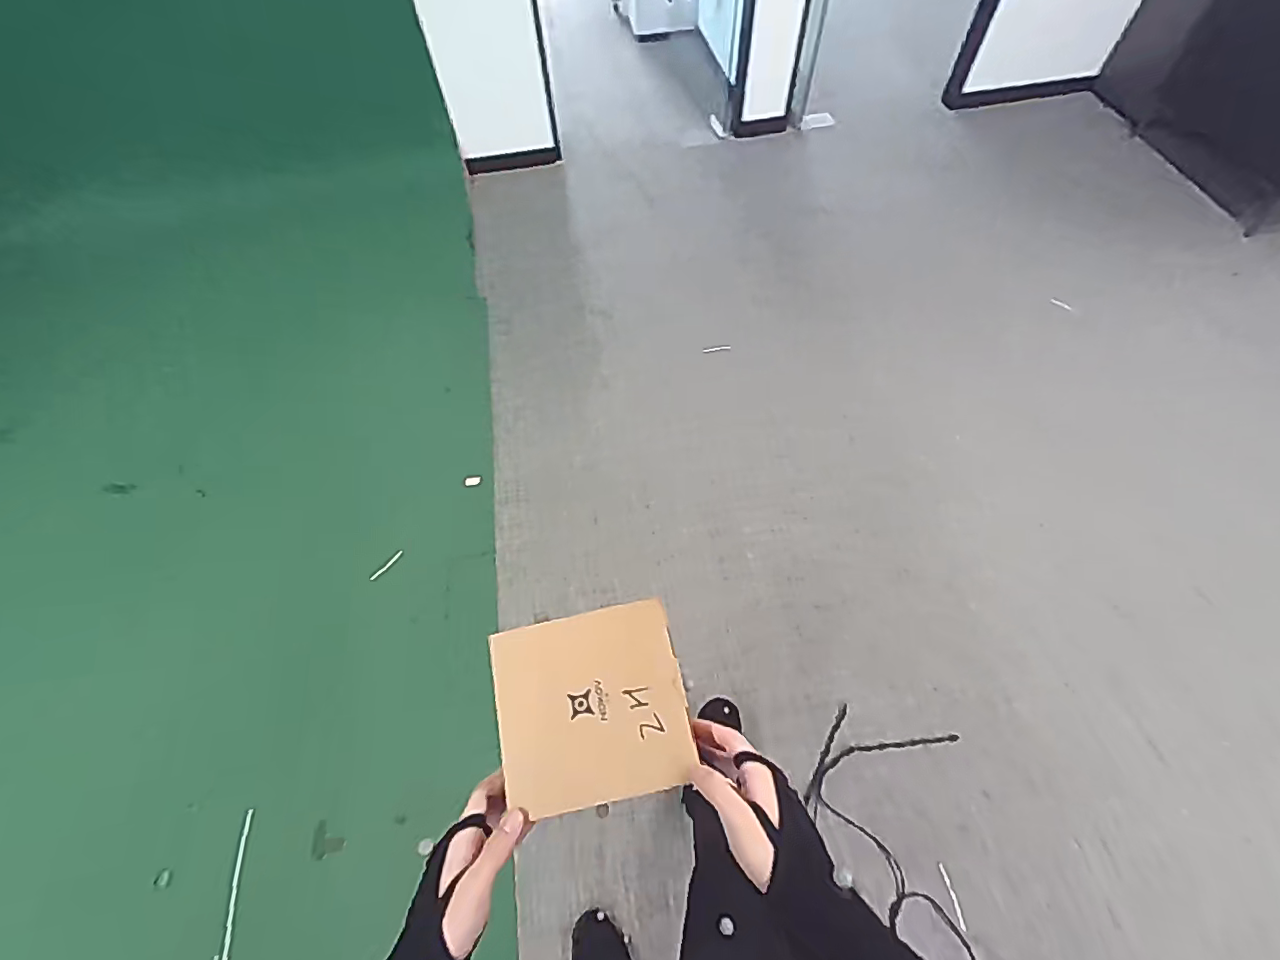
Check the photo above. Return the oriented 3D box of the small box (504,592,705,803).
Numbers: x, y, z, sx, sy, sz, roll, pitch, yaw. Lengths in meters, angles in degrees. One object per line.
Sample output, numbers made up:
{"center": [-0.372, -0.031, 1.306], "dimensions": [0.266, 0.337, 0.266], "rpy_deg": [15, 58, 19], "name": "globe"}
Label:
{"center": [-0.034, 0.232, 0.585], "dimensions": [0.179, 0.176, 0.168], "rpy_deg": [-11, 67, -2], "name": "small box"}
